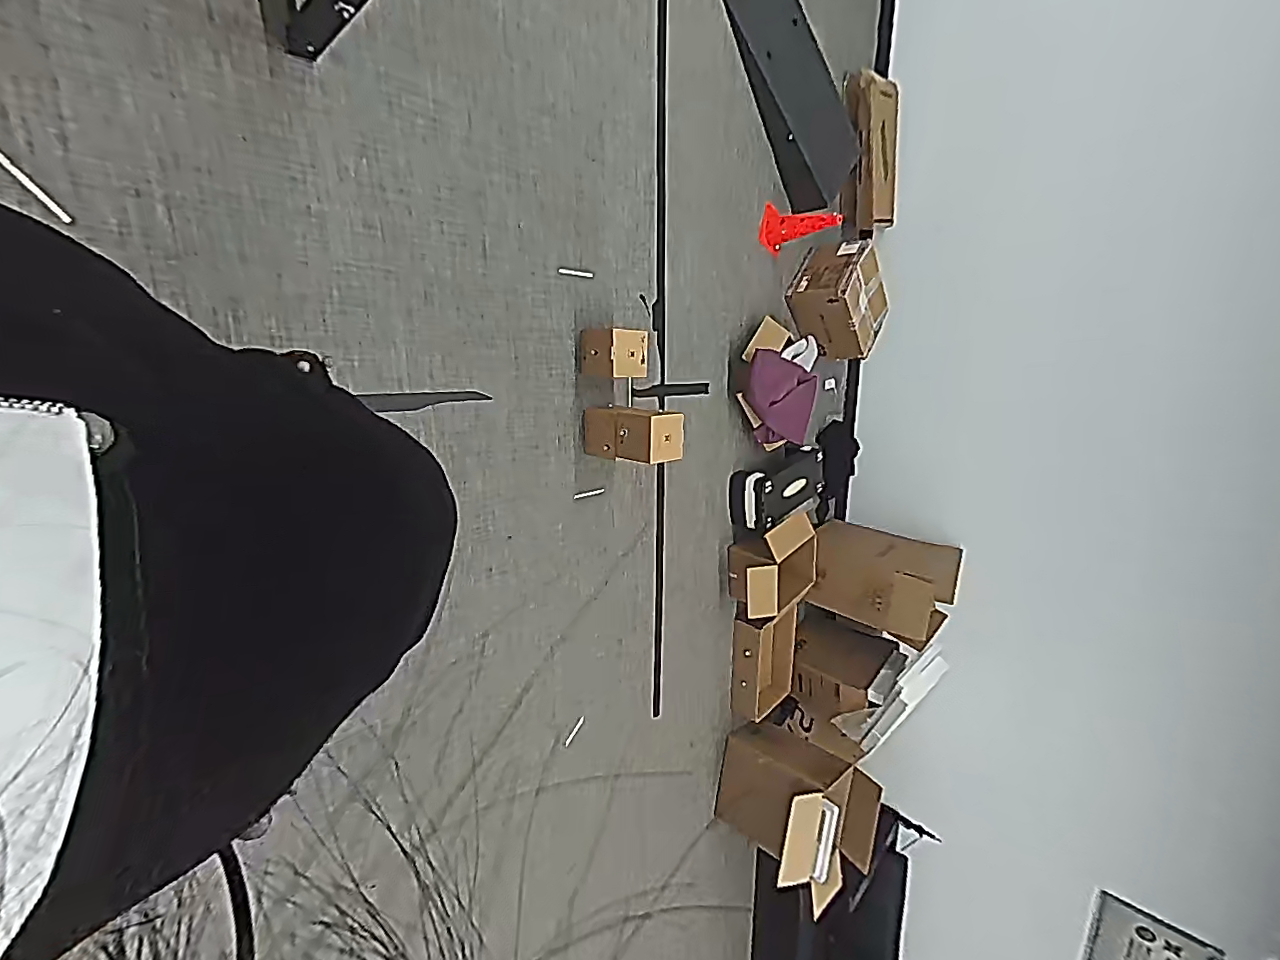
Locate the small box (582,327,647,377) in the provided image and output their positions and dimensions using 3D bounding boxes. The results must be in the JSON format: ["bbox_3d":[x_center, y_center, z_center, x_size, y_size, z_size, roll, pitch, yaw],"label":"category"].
[{"bbox_3d":[-0.095,-0.457,1.941,0.179,0.176,0.168,-11,107,-45],"label":"small box"}]

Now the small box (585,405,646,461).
[{"bbox_3d":[-0.092,-0.180,2.015,0.168,0.176,0.179,-15,111,-45],"label":"small box"}]

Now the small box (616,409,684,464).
[{"bbox_3d":[0.034,-0.159,1.914,0.179,0.176,0.168,-12,108,-44],"label":"small box"}]
